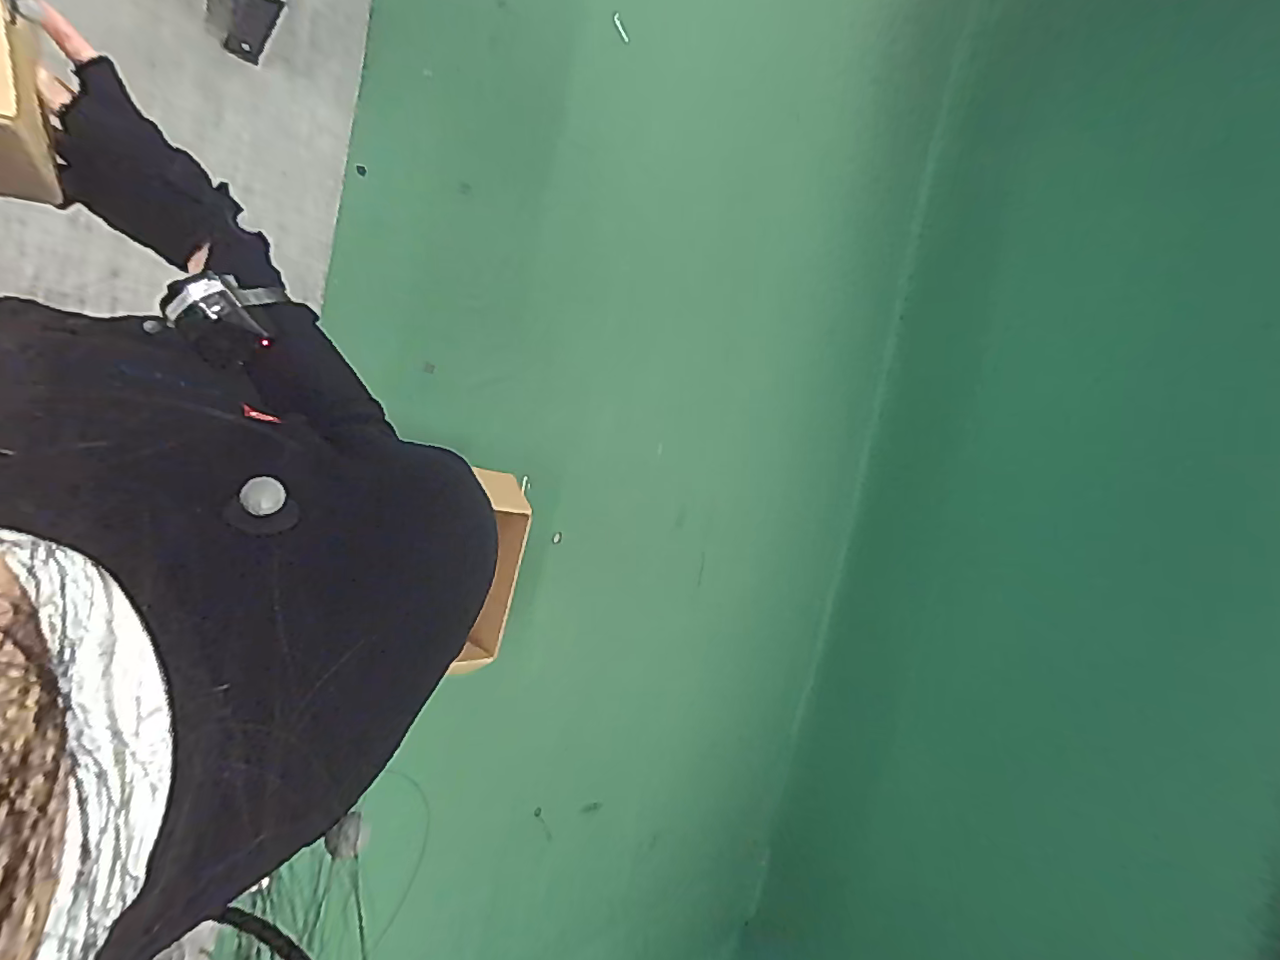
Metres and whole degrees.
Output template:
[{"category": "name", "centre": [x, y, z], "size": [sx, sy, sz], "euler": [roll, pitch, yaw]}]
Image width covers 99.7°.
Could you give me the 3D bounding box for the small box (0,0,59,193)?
[{"category": "small box", "centre": [-0.427, -0.267, 0.268], "size": [0.168, 0.176, 0.179], "euler": [-8, 103, -42]}]
